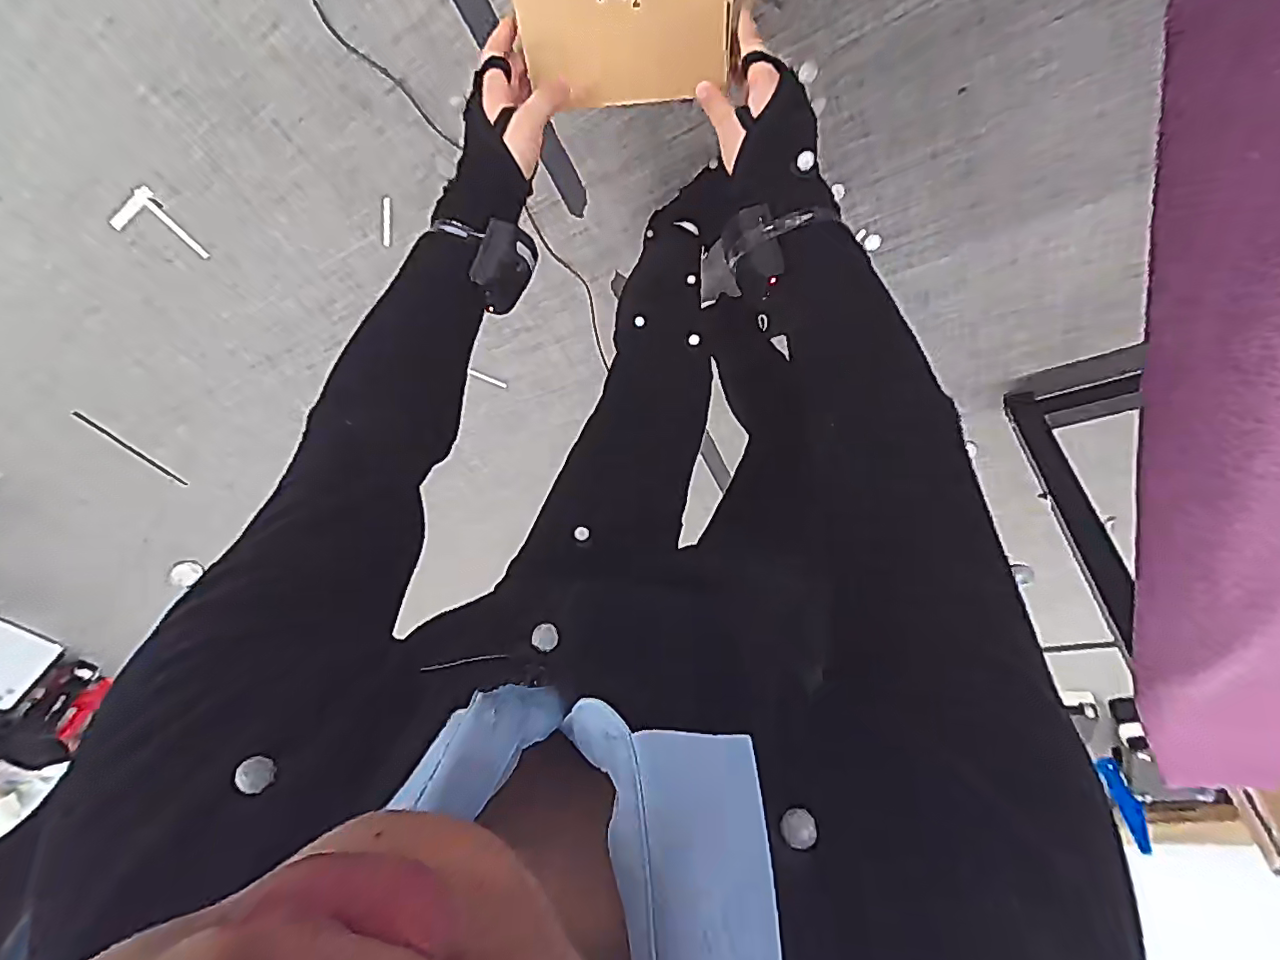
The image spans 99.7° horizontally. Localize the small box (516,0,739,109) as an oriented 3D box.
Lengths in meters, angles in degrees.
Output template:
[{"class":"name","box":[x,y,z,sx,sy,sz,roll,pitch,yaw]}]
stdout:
[{"class":"small box","box":[-0.004,-0.446,0.469,0.179,0.176,0.168,1,138,10]}]
